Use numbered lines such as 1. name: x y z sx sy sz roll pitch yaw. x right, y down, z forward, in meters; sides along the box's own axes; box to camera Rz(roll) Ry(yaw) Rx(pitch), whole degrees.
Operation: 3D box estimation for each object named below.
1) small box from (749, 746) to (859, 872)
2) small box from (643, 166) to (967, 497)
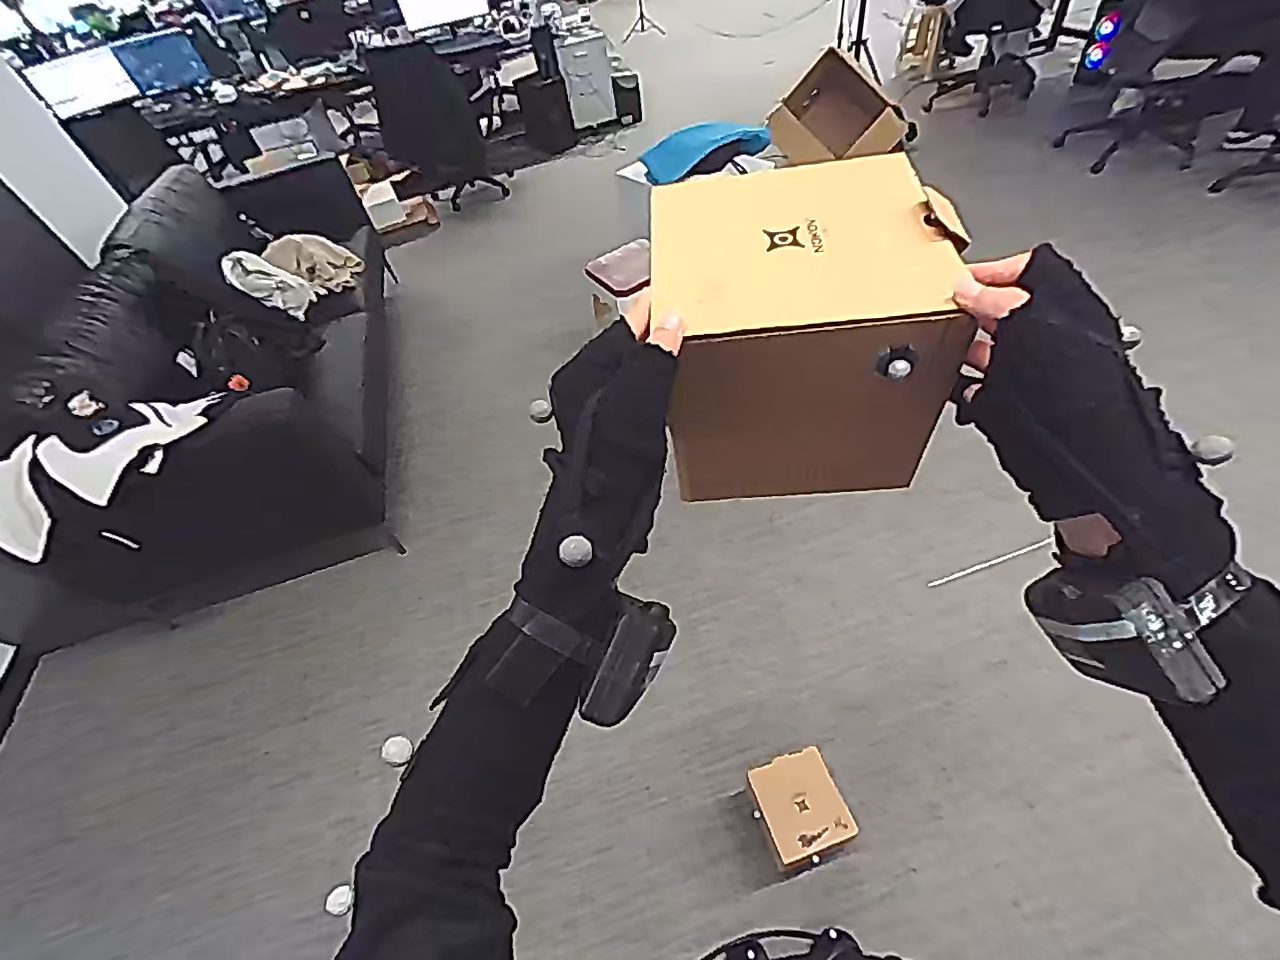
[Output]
1. small box: 0.345 0.714 1.172 0.168 0.176 0.179 -18 48 -4
2. small box: 0.101 -0.099 0.404 0.179 0.176 0.168 -4 55 7
